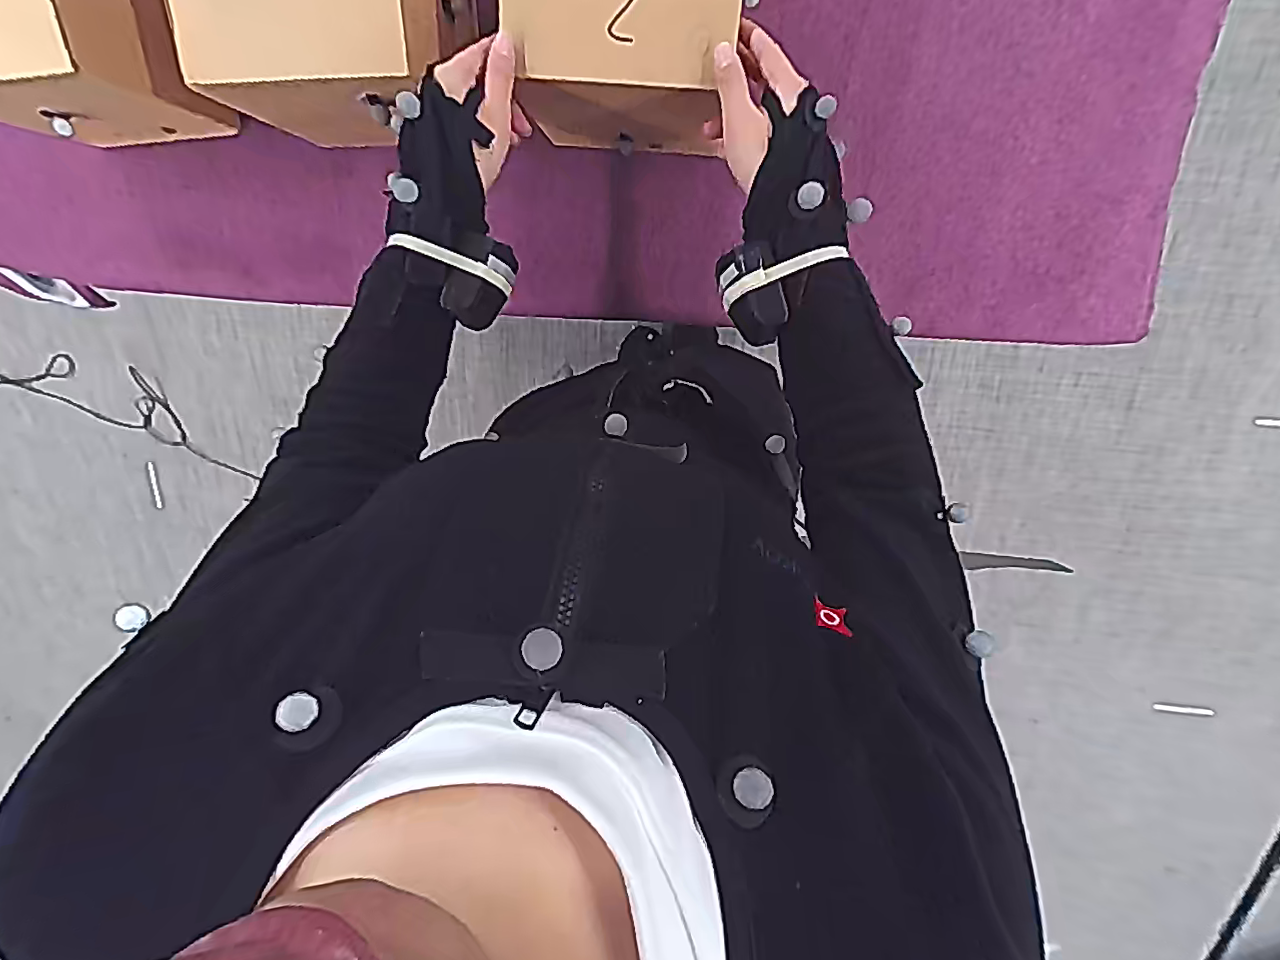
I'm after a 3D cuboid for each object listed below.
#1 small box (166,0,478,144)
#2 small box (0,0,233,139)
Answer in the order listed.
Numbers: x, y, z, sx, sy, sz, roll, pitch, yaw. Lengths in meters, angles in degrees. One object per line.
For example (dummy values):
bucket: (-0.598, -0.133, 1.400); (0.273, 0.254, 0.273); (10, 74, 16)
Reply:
small box: (-0.244, -0.393, 0.443); (0.179, 0.176, 0.168); (0, 107, 4)
small box: (-0.499, -0.411, 0.461); (0.168, 0.176, 0.179); (-2, 107, 5)
